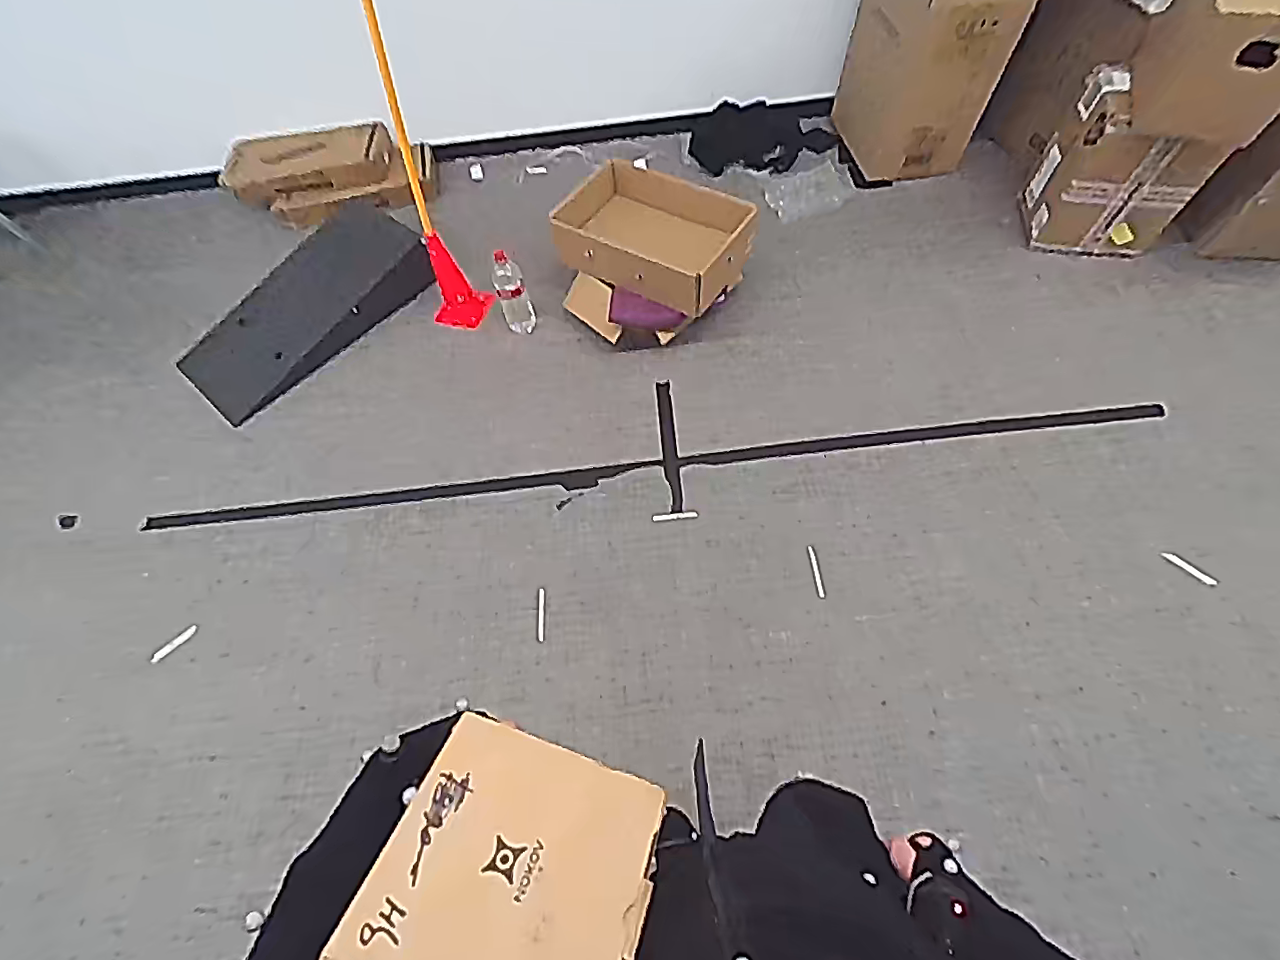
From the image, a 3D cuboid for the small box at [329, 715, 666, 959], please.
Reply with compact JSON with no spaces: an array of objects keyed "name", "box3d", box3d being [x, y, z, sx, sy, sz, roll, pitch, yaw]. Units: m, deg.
[{"name":"small box","box3d":[-0.097,0.325,0.426,0.179,0.176,0.168,18,41,7]}]
